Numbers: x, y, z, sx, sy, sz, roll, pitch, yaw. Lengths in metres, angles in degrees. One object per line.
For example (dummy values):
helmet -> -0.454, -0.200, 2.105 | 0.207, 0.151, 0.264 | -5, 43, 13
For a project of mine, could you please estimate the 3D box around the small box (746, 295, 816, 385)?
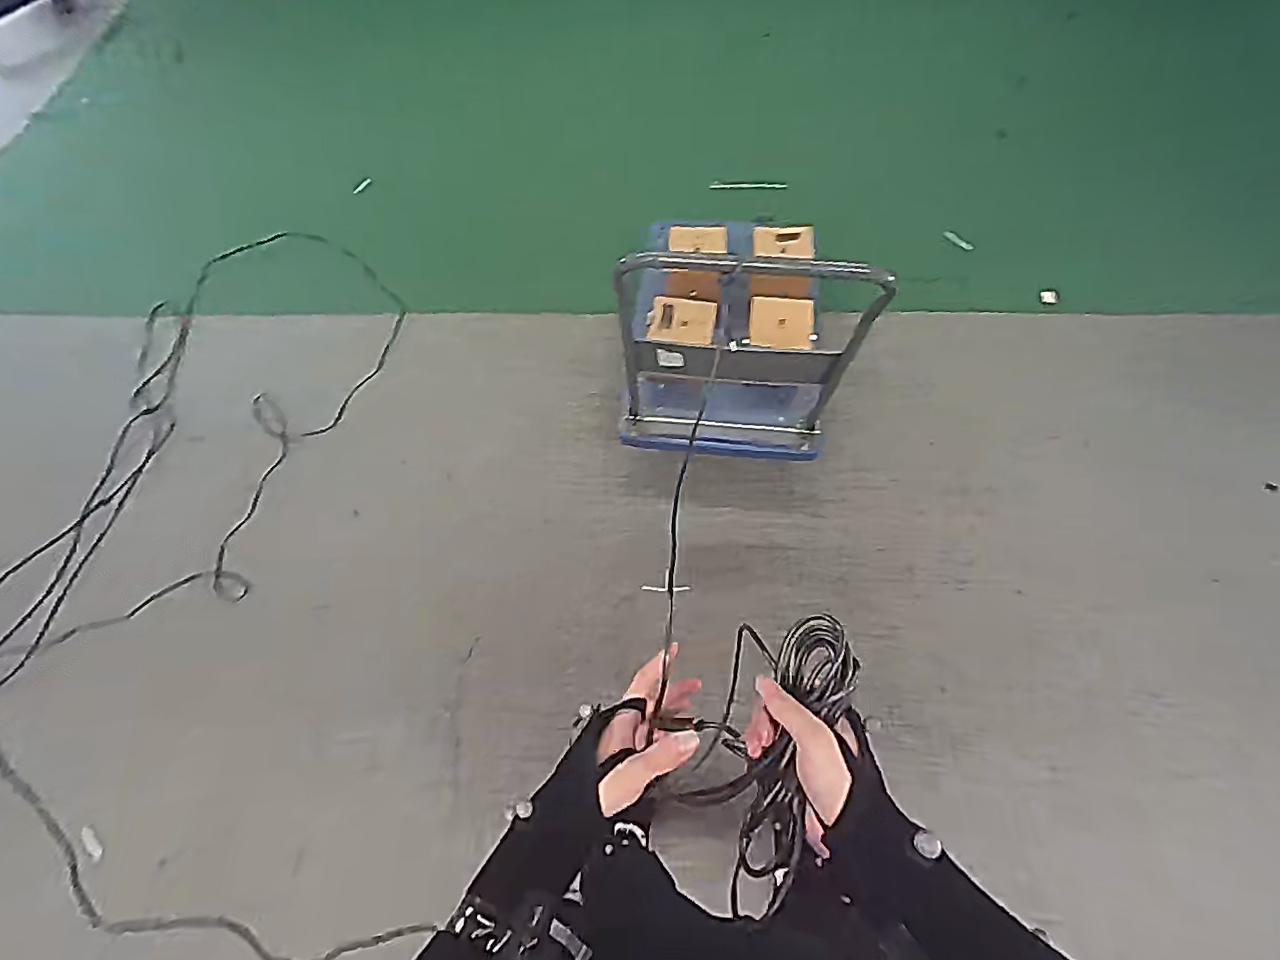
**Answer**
small box -> 0.399, -0.398, 1.548 | 0.168, 0.176, 0.179 | 6, 68, 6

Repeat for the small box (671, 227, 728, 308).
small box -> 0.182, -0.653, 1.670 | 0.168, 0.176, 0.179 | 2, 67, 4

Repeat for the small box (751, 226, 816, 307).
small box -> 0.433, -0.645, 1.652 | 0.168, 0.176, 0.179 | 2, 68, 5
